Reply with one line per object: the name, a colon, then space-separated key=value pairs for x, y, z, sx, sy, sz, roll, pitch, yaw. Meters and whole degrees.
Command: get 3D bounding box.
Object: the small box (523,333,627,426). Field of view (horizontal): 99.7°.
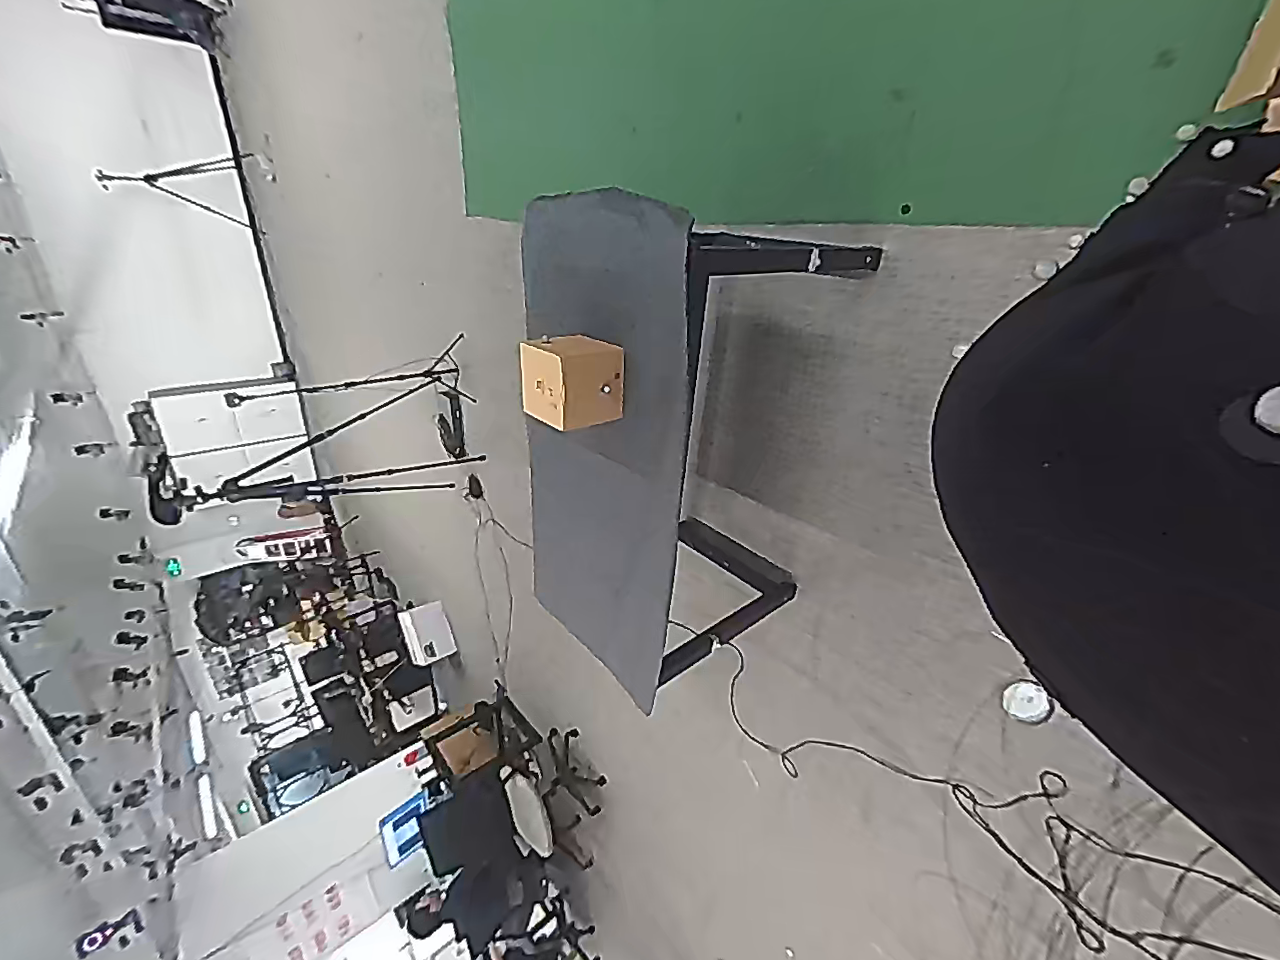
small box: x=-0.150 y=-0.238 z=1.239 sx=0.179 sy=0.176 sz=0.168 roll=28 pitch=126 yaw=42
